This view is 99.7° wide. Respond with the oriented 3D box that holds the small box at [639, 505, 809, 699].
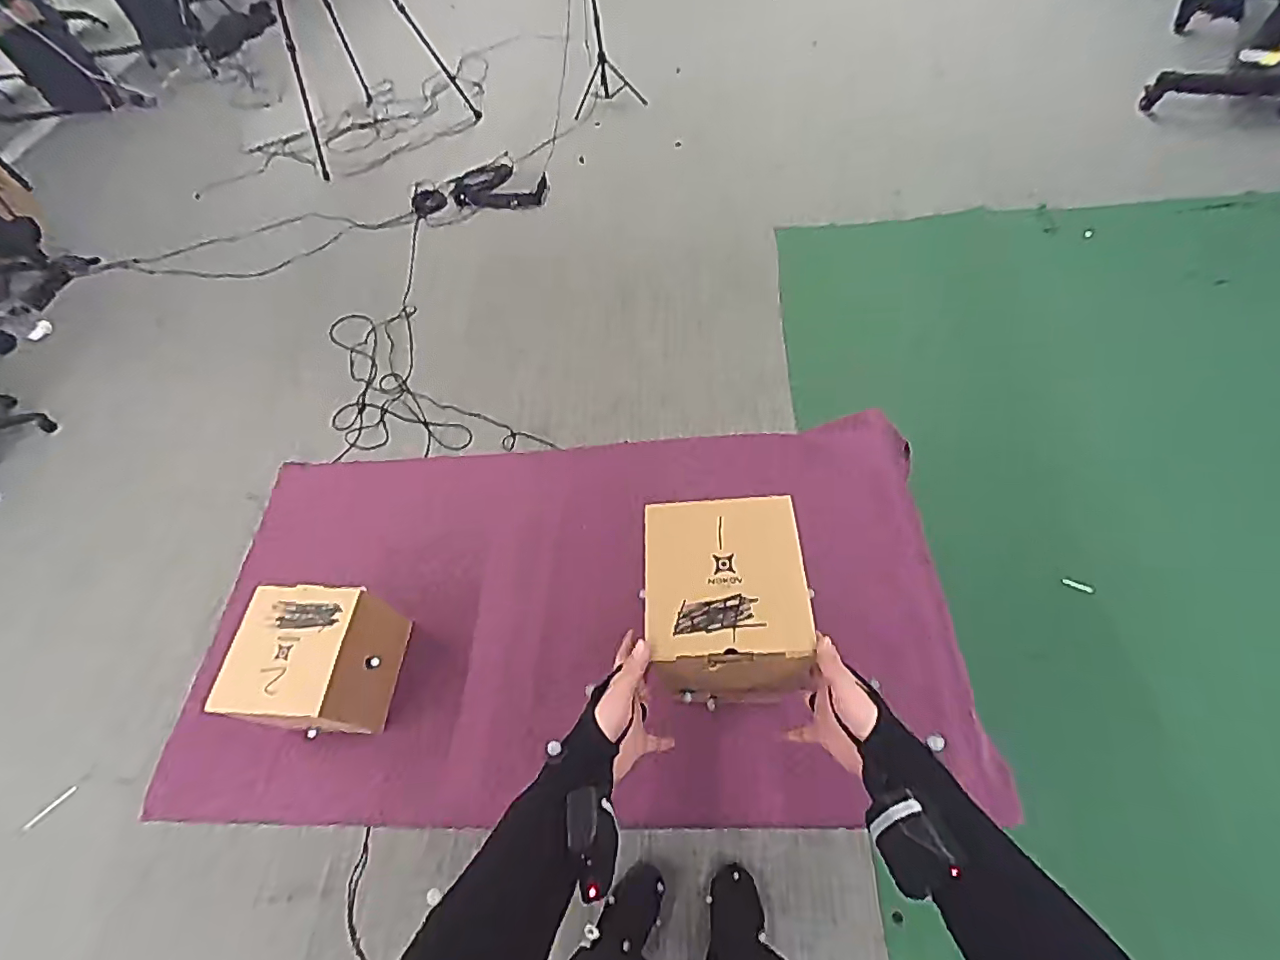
[{"bbox_3d":[0.093,0.149,0.627,0.168,0.176,0.179,-4,55,7],"label":"small box"}]
